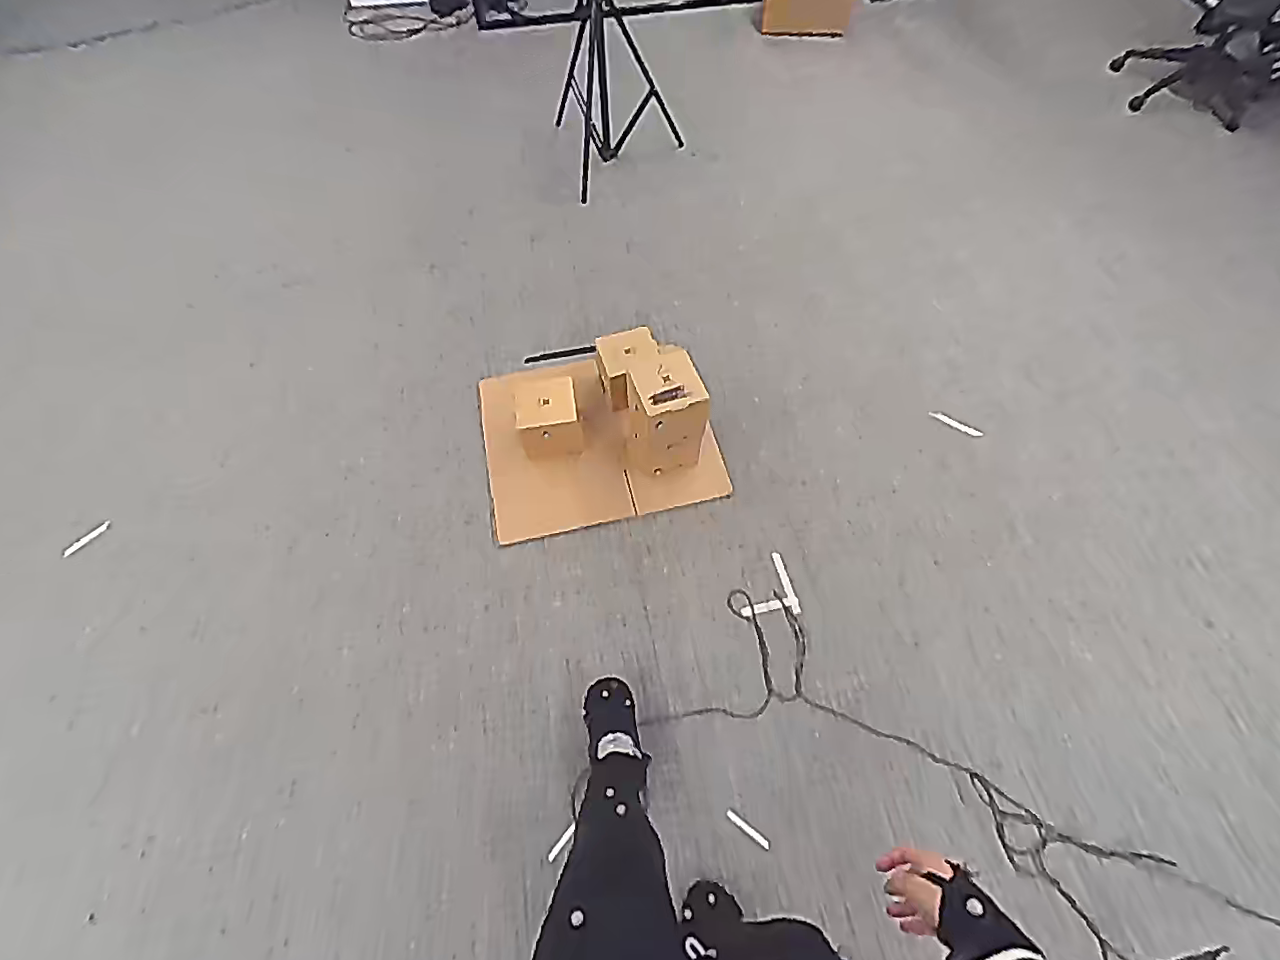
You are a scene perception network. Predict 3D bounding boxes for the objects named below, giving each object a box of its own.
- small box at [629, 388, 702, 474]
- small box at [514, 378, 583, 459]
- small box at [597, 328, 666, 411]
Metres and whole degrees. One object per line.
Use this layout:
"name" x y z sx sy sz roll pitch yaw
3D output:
"small box" 0.073 -0.136 1.585 0.168 0.176 0.179 -16 62 -8
"small box" -0.268 -0.180 1.613 0.179 0.176 0.168 -9 61 -3
"small box" -0.028 -0.344 1.704 0.179 0.176 0.168 -17 61 -7
